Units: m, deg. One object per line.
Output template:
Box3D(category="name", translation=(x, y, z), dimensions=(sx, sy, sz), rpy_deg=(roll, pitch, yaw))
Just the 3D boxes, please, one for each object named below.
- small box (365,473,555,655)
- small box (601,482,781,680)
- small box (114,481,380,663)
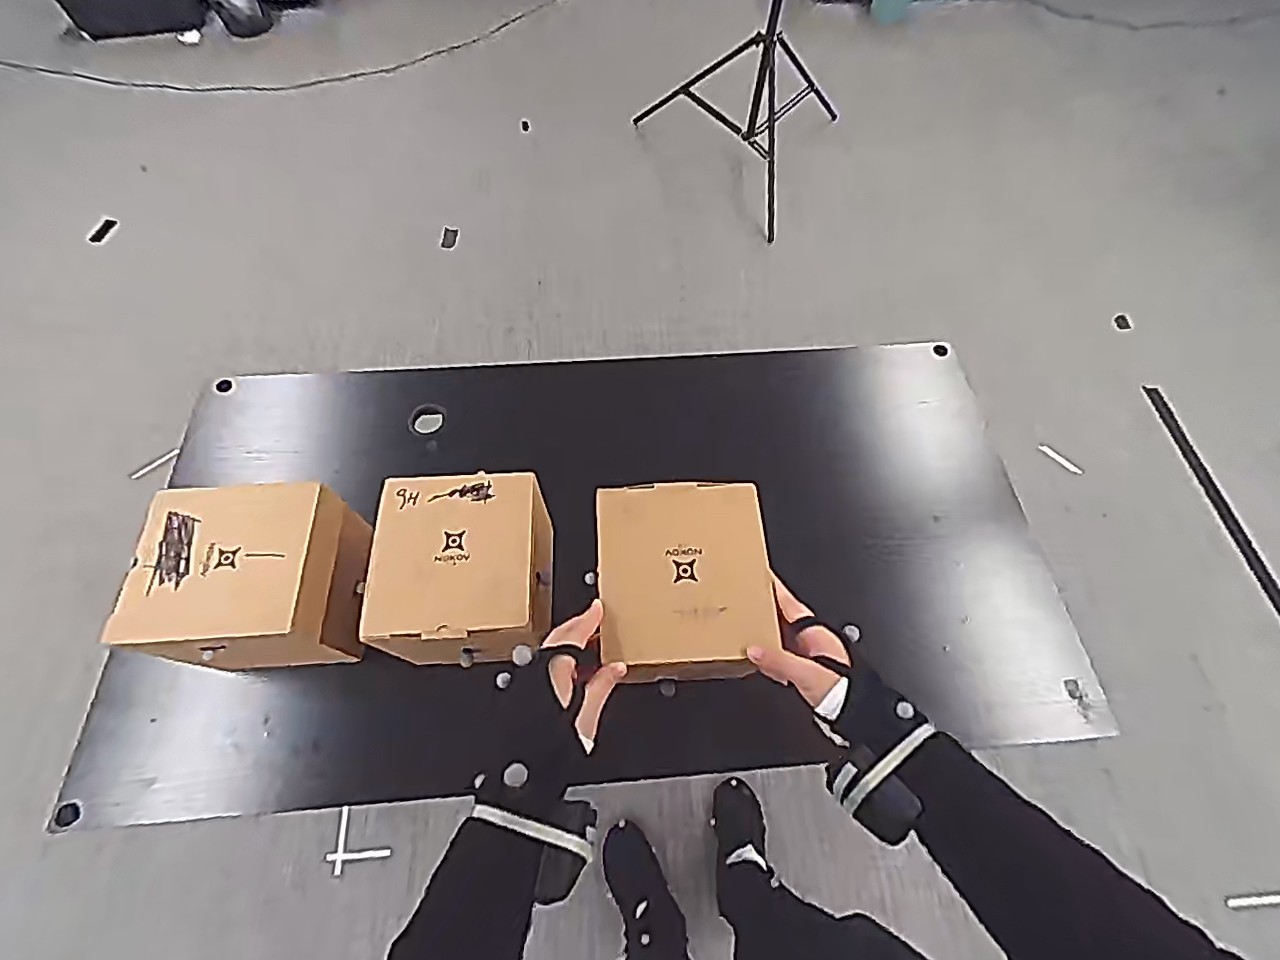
Box3D(category="small box", translation=(-0.194, 0.108, 0.638), dimensions=(0.168, 0.176, 0.179), rpy_deg=(-2, 64, -2))
Box3D(category="small box", translation=(0.041, 0.117, 0.597), dimensions=(0.168, 0.176, 0.179), rpy_deg=(-3, 65, -3))
Box3D(category="small box", translation=(-0.426, 0.113, 0.629), dimensions=(0.179, 0.176, 0.168), rpy_deg=(-3, 64, -3))
